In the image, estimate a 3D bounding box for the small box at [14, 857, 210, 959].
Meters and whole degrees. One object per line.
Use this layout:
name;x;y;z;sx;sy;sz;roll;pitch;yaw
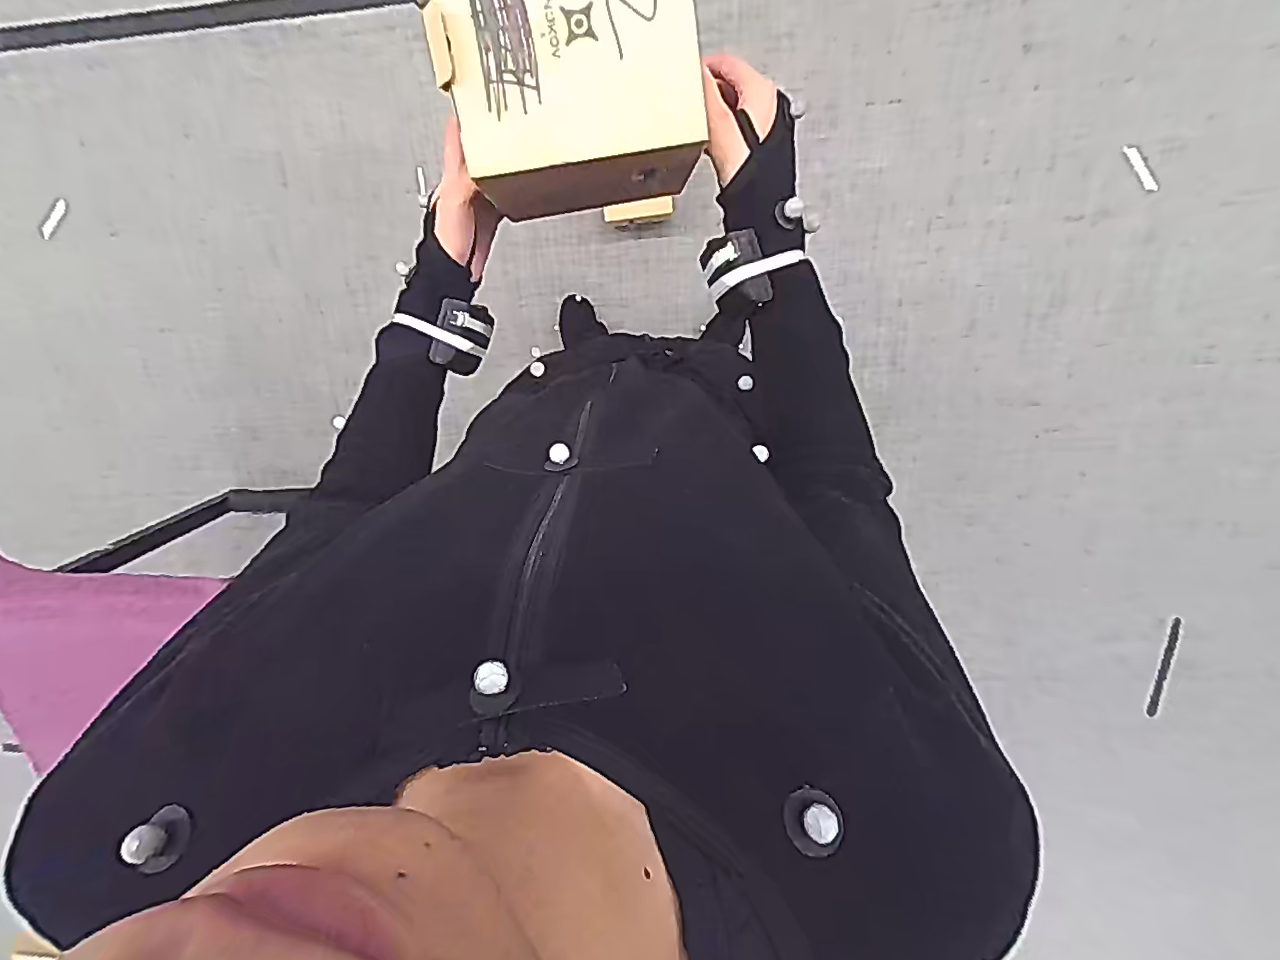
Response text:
small box;-0.964;0.839;1.006;0.179;0.176;0.168;0;110;4

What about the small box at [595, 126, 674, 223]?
small box;-0.007;-0.735;1.323;0.168;0.176;0.179;-5;109;6

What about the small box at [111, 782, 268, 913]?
small box;-0.948;0.783;1.160;0.168;0.176;0.179;-6;109;6
